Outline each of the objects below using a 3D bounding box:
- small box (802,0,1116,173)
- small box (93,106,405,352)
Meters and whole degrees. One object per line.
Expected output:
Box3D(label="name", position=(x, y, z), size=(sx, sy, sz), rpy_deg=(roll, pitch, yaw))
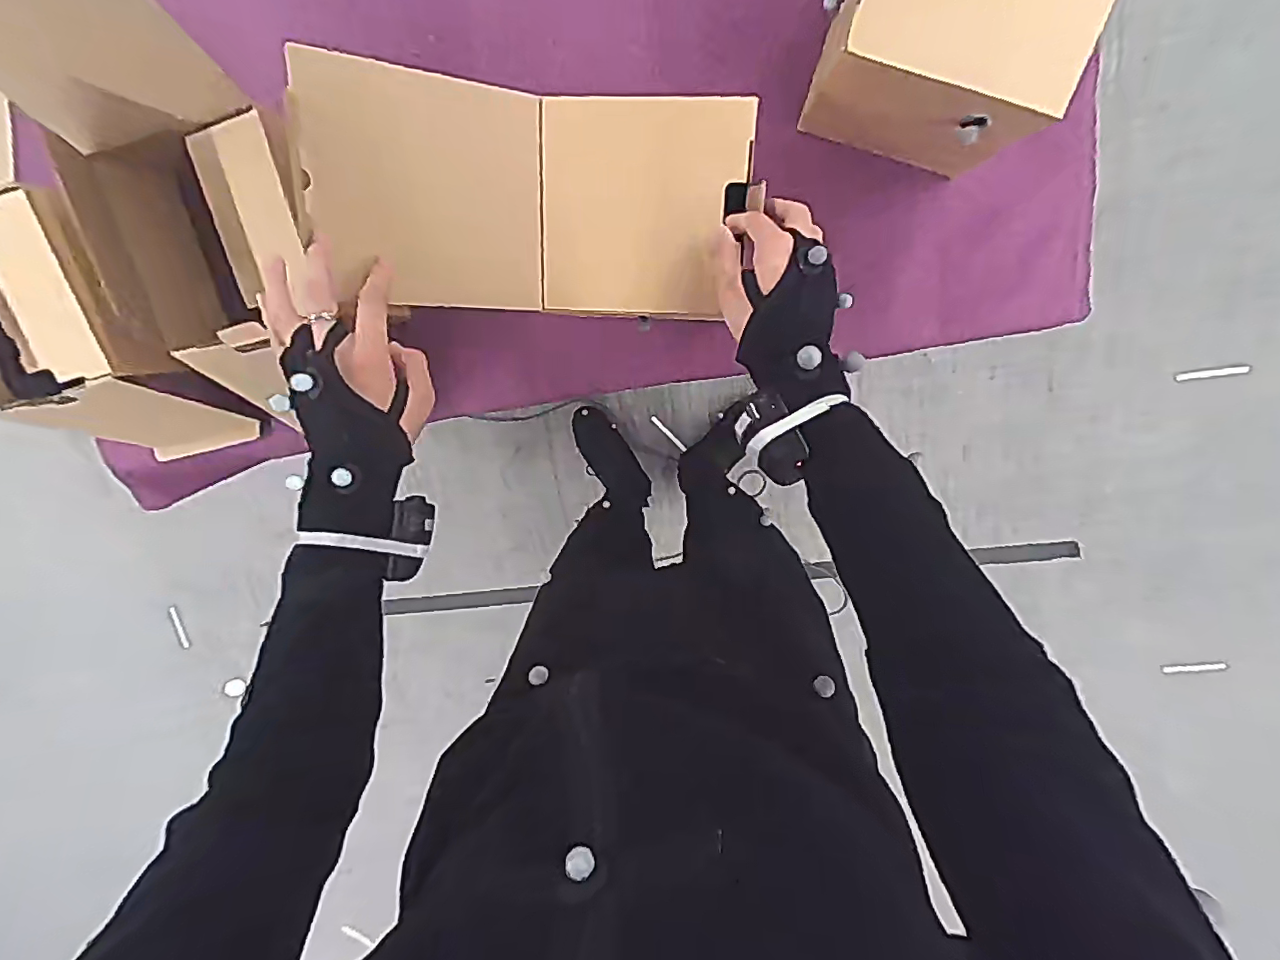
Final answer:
Box3D(label="small box", position=(0.262, -0.387, 0.459), size=(0.179, 0.176, 0.168), rpy_deg=(18, 106, 0))
Box3D(label="small box", position=(-0.372, -0.238, 0.555), size=(0.168, 0.176, 0.179), rpy_deg=(-10, 105, 6))
